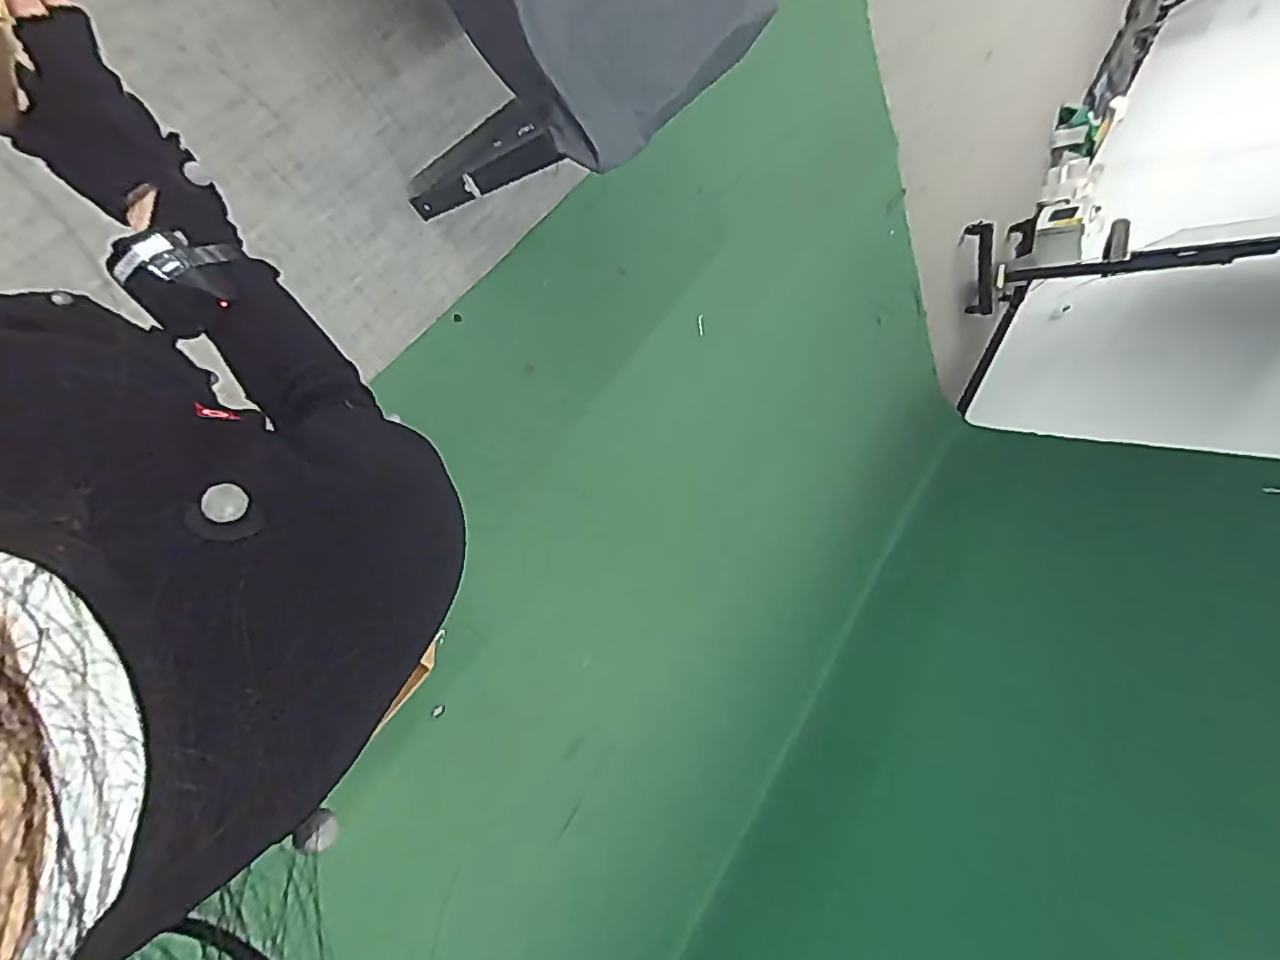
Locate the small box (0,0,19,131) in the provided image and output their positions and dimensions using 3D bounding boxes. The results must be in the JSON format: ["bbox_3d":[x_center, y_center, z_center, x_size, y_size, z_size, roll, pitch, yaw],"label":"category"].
[{"bbox_3d":[-0.462,-0.331,0.285,0.168,0.176,0.179,-7,99,-47],"label":"small box"}]
